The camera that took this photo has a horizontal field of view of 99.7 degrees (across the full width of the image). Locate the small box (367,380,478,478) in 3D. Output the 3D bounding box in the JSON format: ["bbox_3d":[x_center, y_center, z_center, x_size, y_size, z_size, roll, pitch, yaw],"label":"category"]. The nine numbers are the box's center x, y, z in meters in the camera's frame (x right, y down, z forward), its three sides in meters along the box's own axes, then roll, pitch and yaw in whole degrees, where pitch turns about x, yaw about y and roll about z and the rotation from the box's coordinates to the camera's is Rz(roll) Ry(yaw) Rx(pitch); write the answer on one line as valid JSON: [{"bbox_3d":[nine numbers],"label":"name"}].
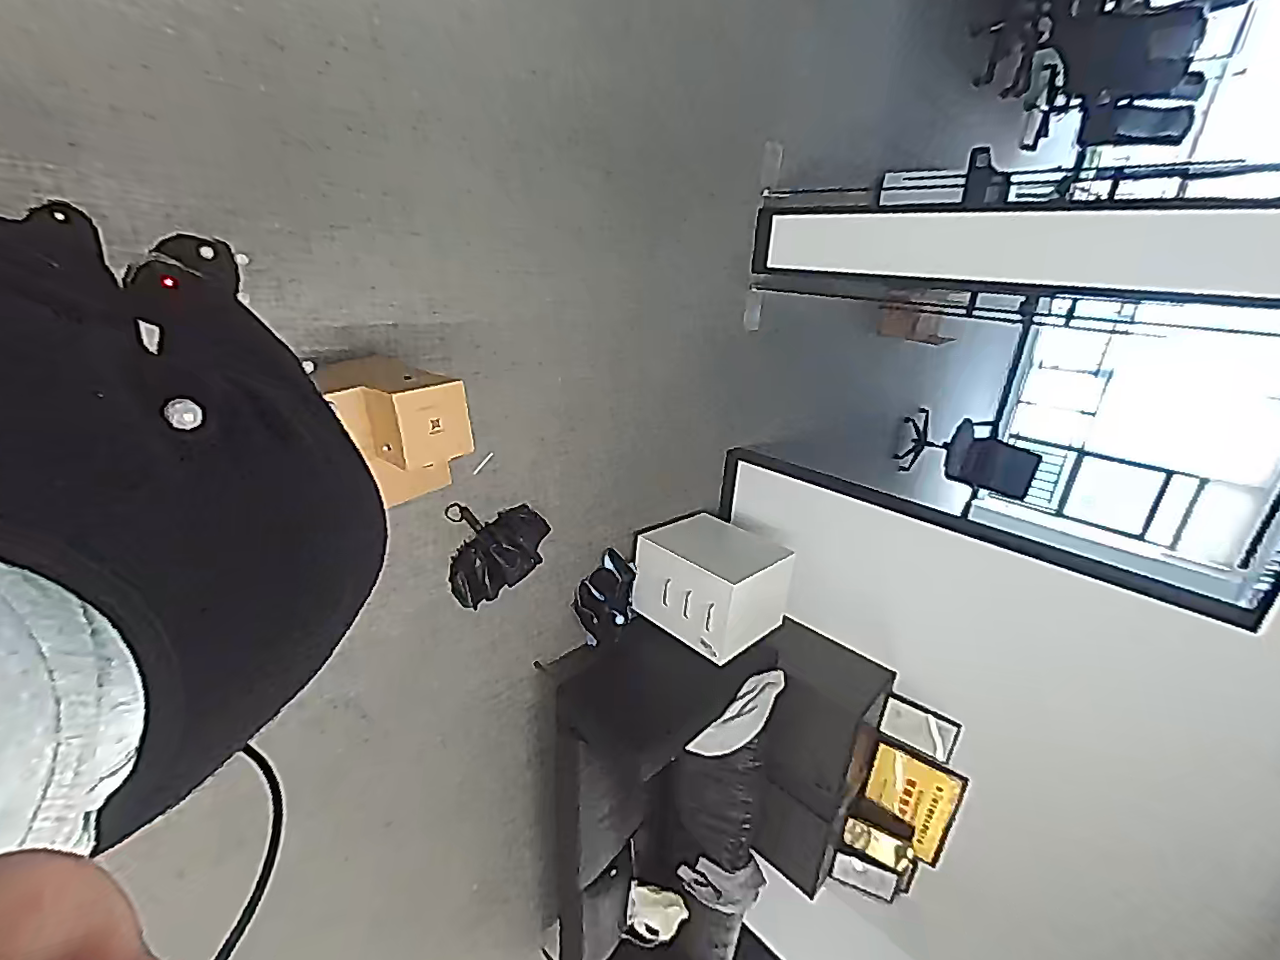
[{"bbox_3d":[-0.501,-0.125,1.248,0.168,0.176,0.179,-25,119,-41],"label":"small box"}]
